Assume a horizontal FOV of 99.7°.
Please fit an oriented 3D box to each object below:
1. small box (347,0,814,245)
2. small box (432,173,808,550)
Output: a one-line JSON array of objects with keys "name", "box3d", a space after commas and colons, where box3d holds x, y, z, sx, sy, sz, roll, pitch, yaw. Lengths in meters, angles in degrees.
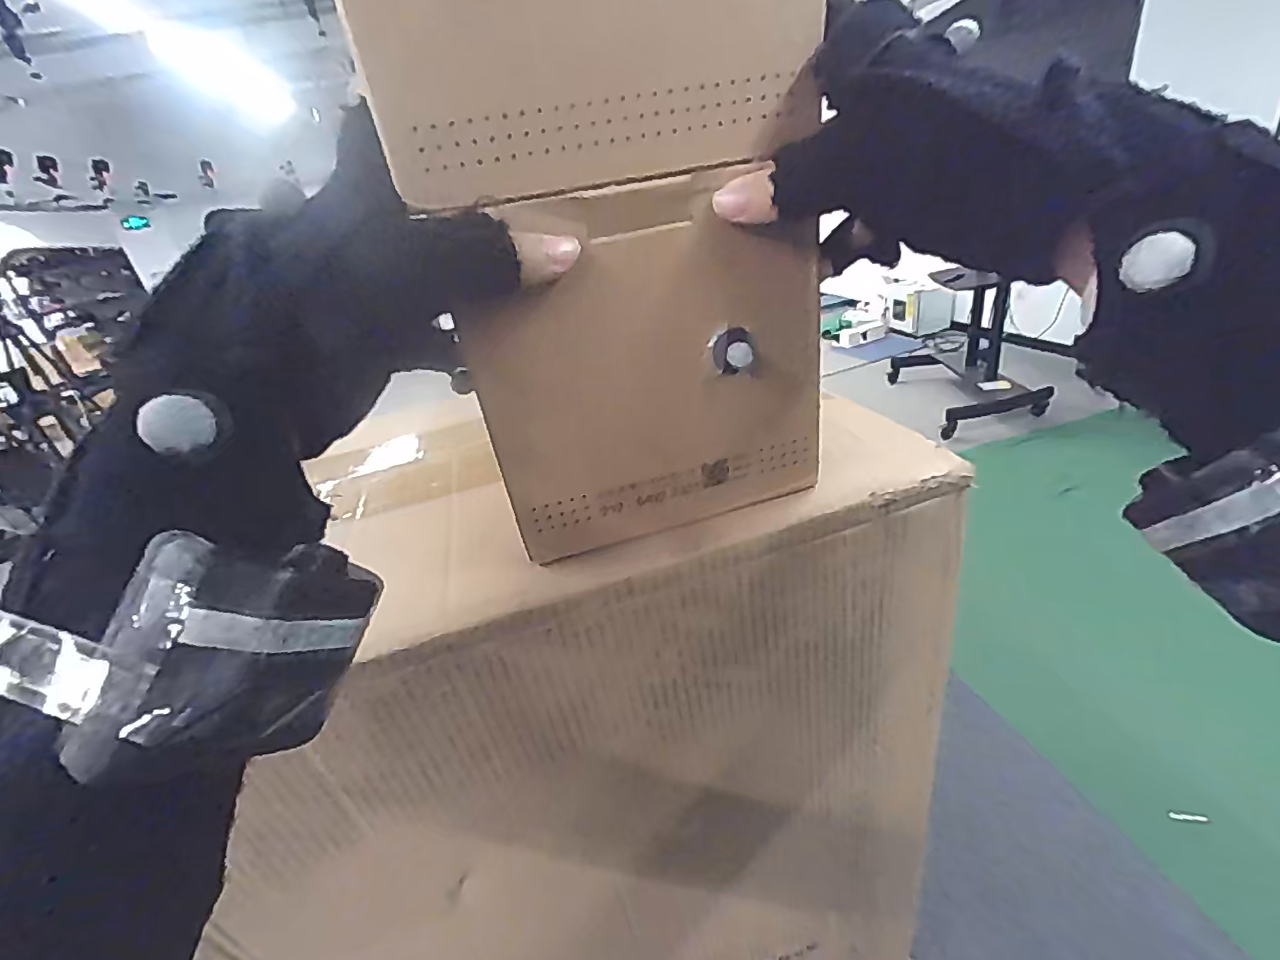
[{"name": "small box", "box3d": [-0.034, -0.215, 0.249, 0.179, 0.176, 0.168, -14, 30, -12]}, {"name": "small box", "box3d": [-0.011, -0.074, 0.330, 0.168, 0.176, 0.179, -14, 28, -9]}]
